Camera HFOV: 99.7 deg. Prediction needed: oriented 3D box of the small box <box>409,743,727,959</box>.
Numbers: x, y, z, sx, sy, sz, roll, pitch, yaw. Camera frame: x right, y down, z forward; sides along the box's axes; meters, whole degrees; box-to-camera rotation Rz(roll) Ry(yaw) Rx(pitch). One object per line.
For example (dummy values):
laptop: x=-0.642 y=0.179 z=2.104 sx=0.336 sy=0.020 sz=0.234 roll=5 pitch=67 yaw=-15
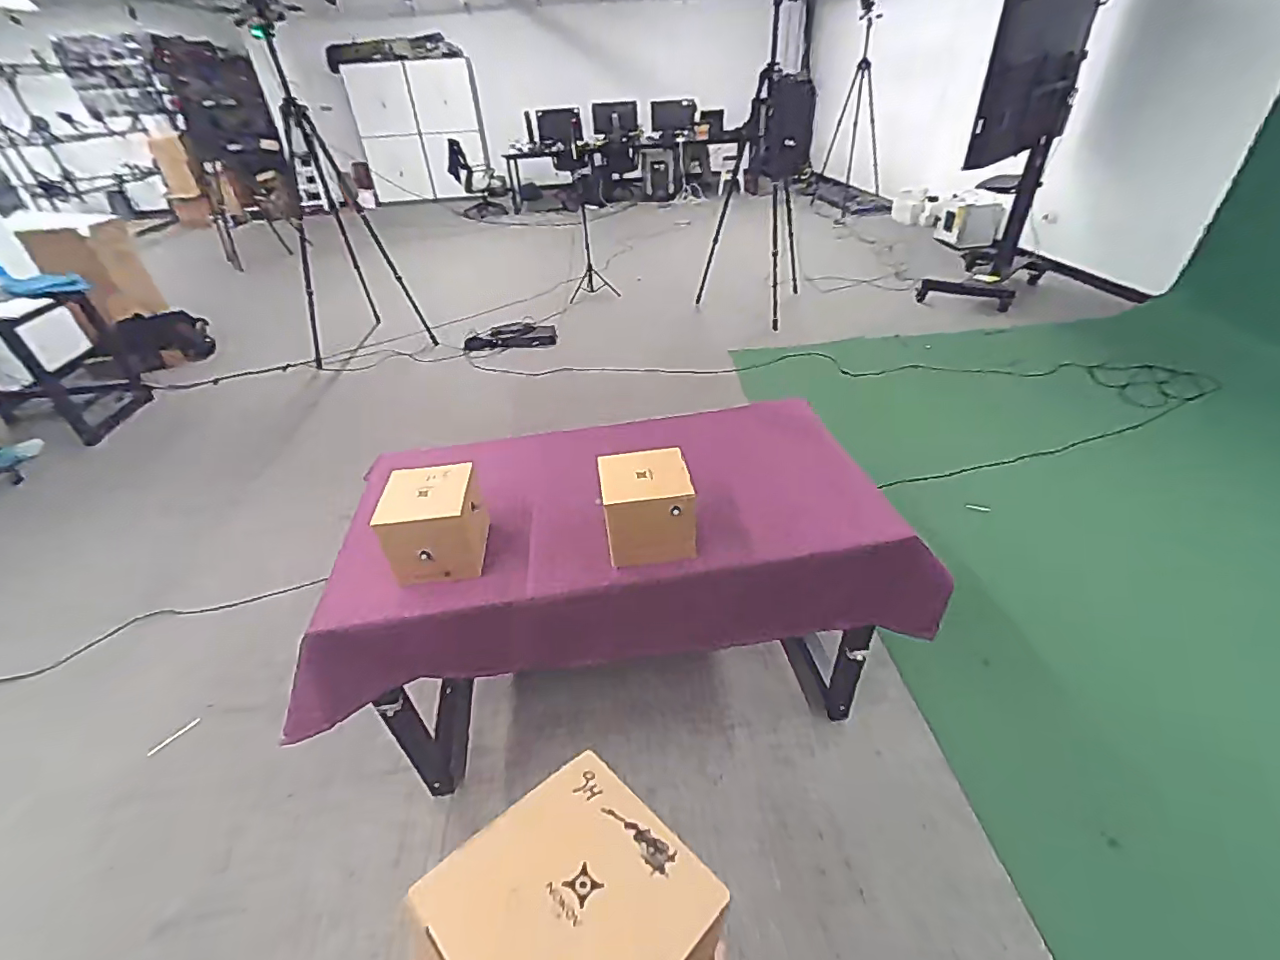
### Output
small box: x=-0.055 y=0.365 z=0.428 sx=0.168 sy=0.176 sz=0.179 roll=27 pitch=33 yaw=37

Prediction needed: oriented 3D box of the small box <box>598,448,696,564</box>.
small box: x=0.015 y=0.055 z=1.107 sx=0.179 sy=0.176 sz=0.168 roll=-7 pitch=37 yaw=-4

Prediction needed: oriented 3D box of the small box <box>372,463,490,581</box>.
small box: x=-0.412 y=0.090 z=1.100 sx=0.168 sy=0.176 sz=0.179 roll=-6 pitch=37 yaw=-3
